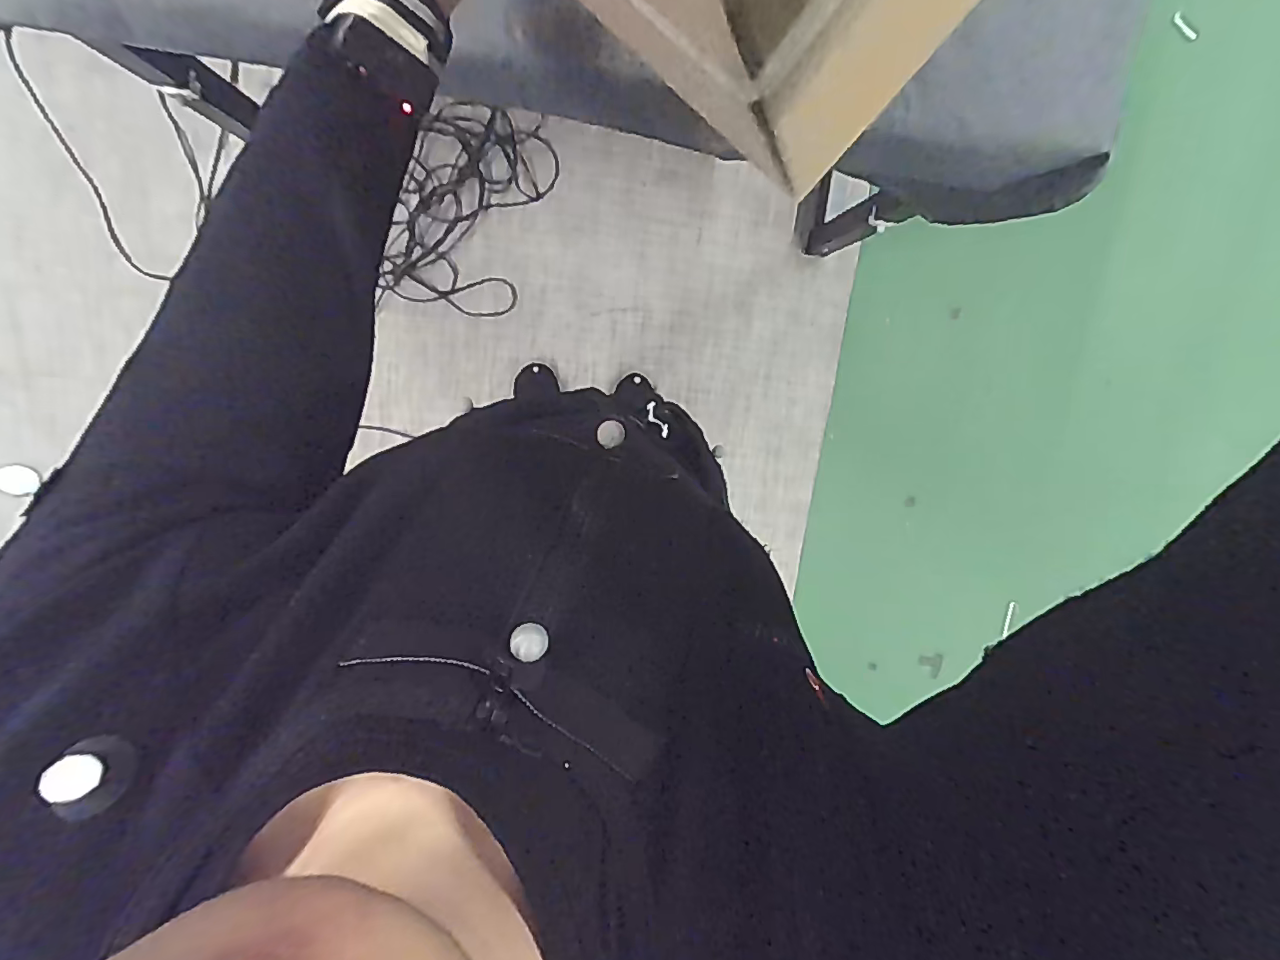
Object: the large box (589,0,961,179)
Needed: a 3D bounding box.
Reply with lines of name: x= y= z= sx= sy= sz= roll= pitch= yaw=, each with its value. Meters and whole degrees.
large box: x=0.012 y=-0.402 z=0.189 sx=0.408 sy=0.320 sz=0.320 roll=45 pitch=112 yaw=7
